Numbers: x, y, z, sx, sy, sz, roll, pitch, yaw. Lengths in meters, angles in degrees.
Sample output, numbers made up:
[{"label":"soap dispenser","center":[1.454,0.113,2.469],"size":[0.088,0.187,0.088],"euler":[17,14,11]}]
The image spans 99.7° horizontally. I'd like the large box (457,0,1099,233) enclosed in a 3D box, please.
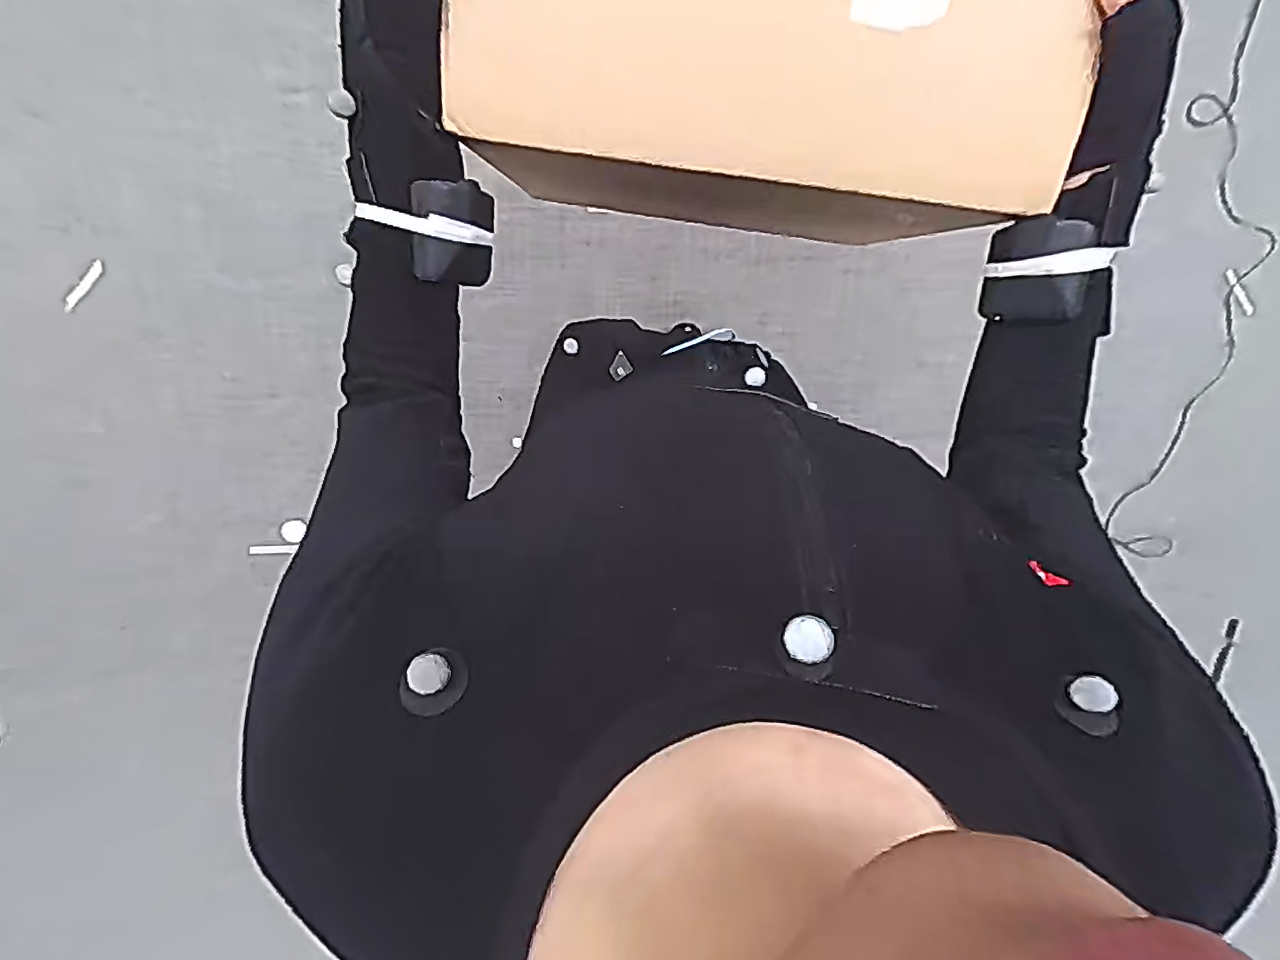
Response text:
[{"label":"large box","center":[0.089,-0.406,0.451],"size":[0.408,0.320,0.320],"euler":[6,111,-4]}]
